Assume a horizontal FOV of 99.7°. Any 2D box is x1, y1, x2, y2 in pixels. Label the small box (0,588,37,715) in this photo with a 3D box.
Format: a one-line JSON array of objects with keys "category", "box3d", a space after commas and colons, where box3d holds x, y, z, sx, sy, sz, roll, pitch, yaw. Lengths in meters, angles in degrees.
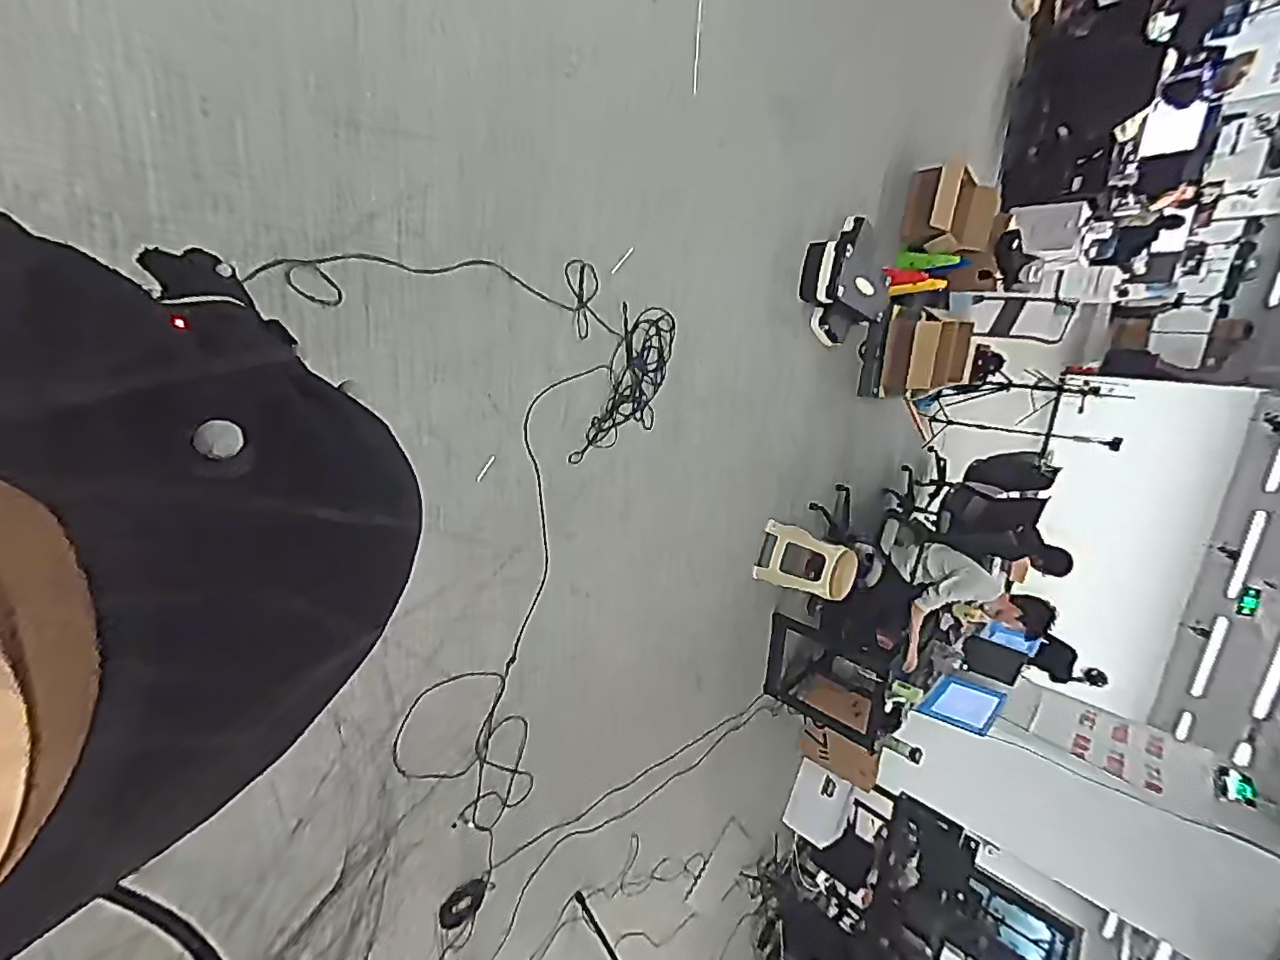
[{"category": "small box", "box3d": [-1.194, 0.313, 0.948, 0.168, 0.176, 0.179, -8, 108, -45]}]
